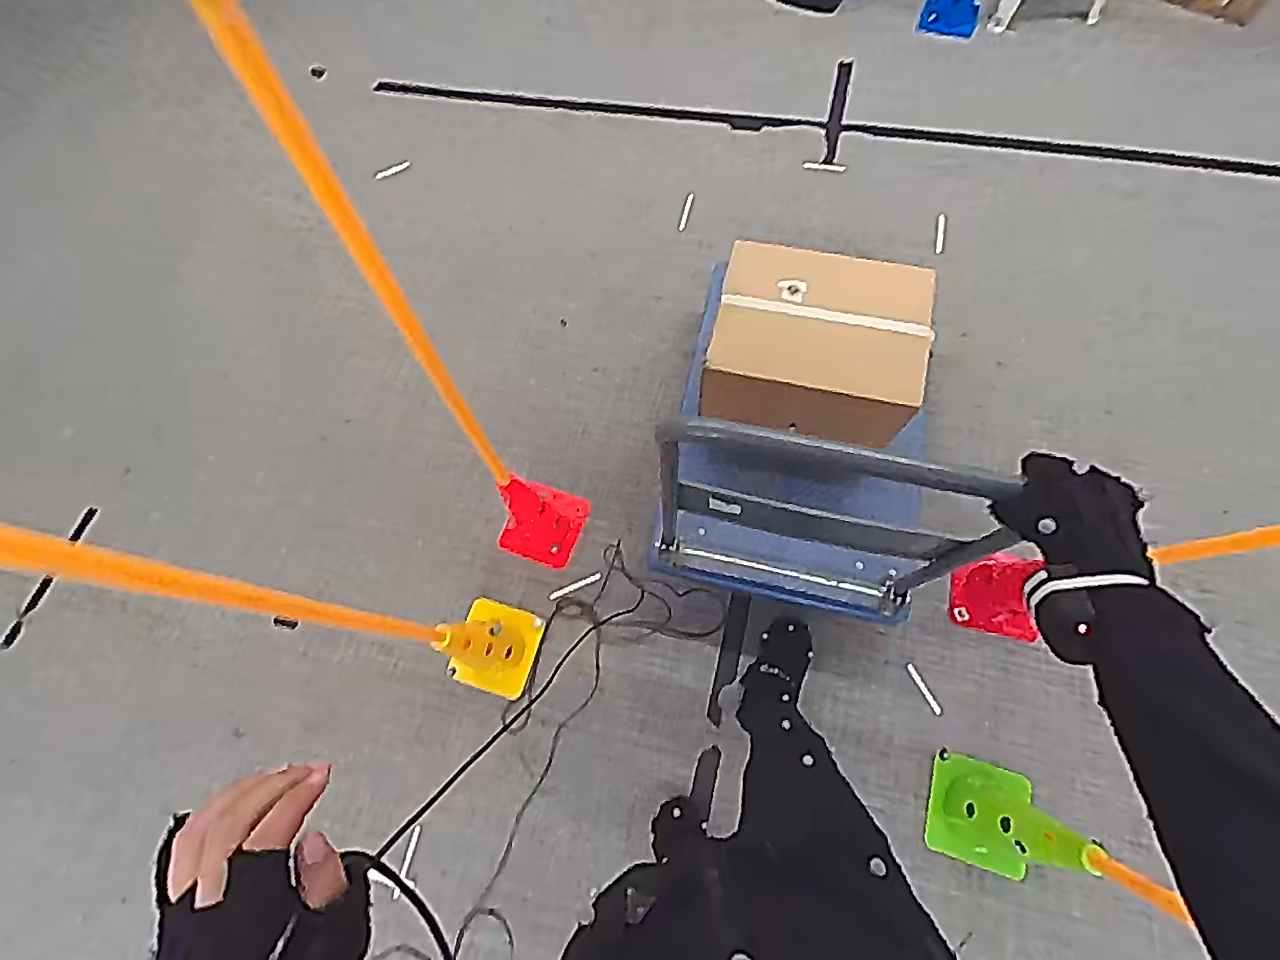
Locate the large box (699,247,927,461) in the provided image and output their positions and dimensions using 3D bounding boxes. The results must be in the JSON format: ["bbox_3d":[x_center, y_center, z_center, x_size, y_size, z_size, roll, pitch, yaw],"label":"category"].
[{"bbox_3d":[0.359,-0.263,1.200,0.408,0.320,0.320,12,73,9],"label":"large box"}]

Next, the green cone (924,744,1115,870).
[{"bbox_3d":[0.713,0.639,0.999,0.202,0.368,0.200,16,72,8],"label":"green cone"}]

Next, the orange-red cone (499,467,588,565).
[{"bbox_3d":[-0.266,0.049,1.288,0.198,0.360,0.199,19,71,10],"label":"orange-red cone"}]

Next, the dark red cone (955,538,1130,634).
[{"bbox_3d":[0.848,0.192,1.132,0.201,0.394,0.202,12,72,7],"label":"dark red cone"}]
